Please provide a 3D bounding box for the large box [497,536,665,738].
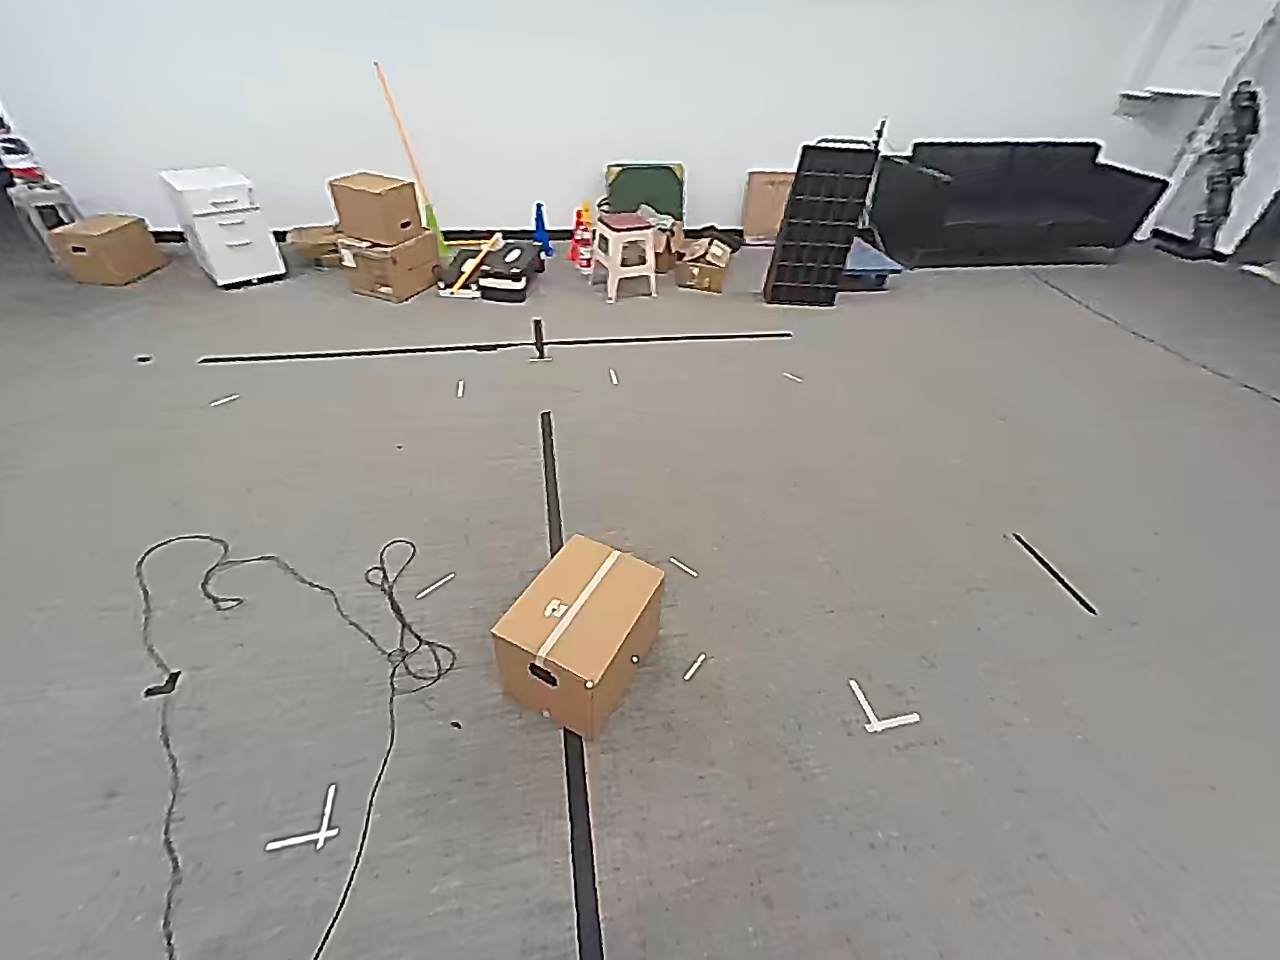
[{"bbox_3d":[-0.157,0.444,1.573,0.320,0.320,0.408,20,44,19],"label":"large box"}]
